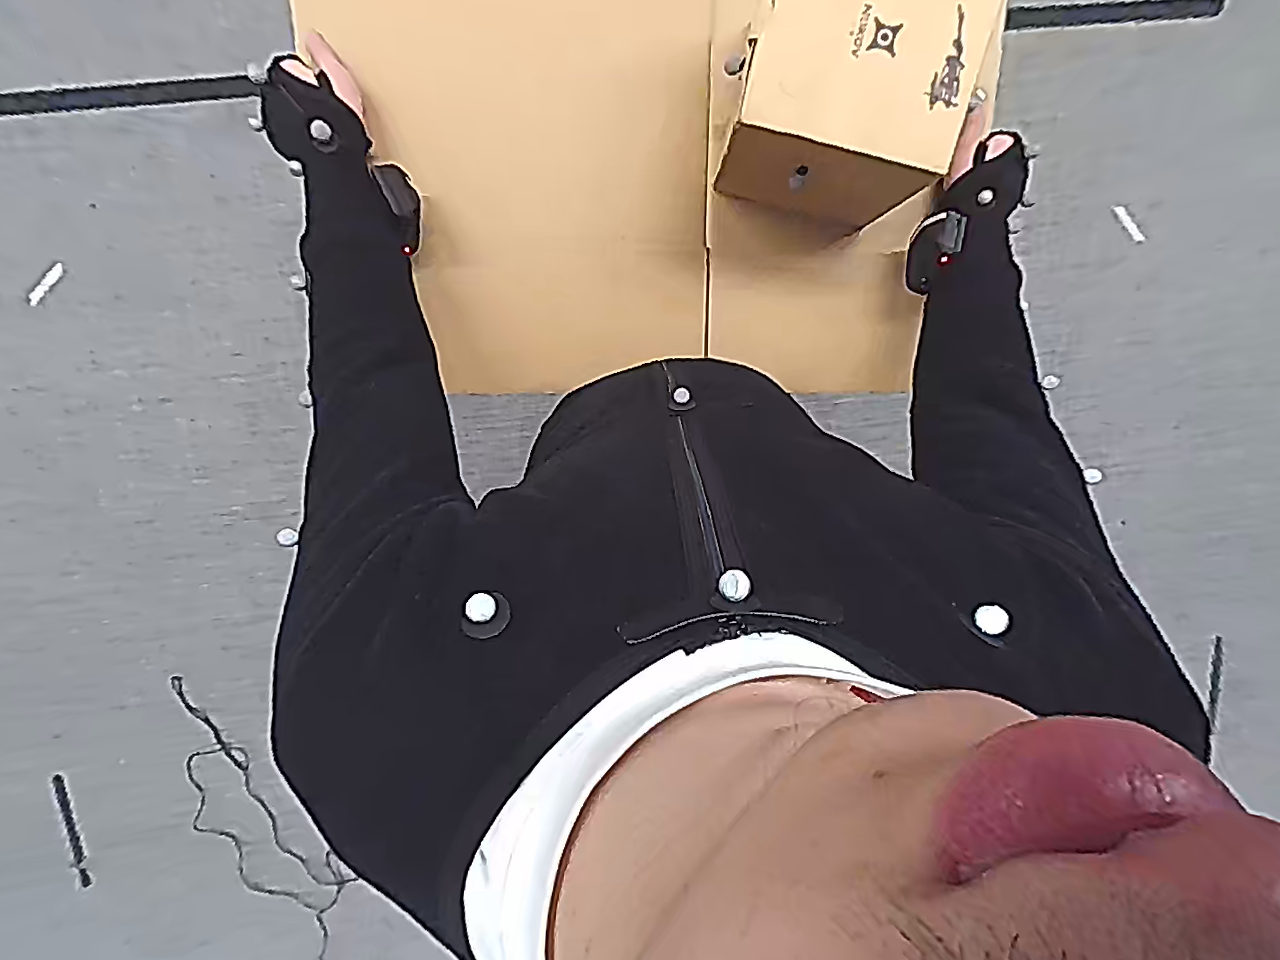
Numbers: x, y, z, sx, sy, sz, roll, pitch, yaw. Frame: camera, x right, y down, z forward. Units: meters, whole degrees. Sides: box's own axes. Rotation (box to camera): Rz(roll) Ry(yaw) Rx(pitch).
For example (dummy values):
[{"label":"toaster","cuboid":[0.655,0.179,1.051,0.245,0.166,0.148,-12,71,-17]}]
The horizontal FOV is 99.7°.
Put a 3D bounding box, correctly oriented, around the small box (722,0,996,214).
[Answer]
[{"label":"small box","cuboid":[0.182,-0.365,0.496,0.179,0.176,0.168,13,102,-1]}]
